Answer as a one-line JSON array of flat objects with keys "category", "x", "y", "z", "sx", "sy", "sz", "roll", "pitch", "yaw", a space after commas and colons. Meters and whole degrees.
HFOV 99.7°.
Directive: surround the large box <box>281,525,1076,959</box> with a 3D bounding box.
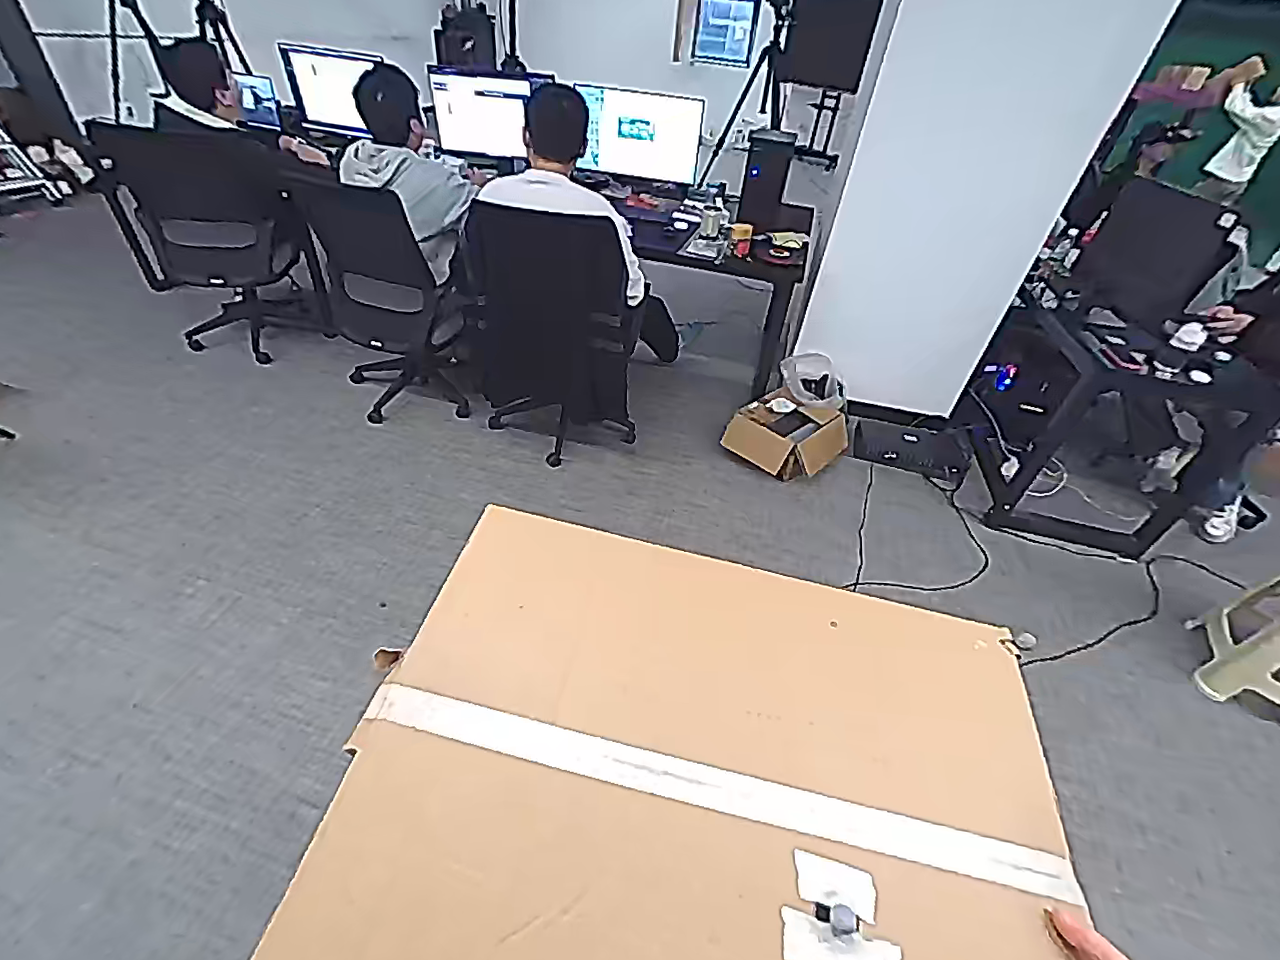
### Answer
[{"category": "large box", "x": 0.027, "y": 0.284, "z": 0.432, "sx": 0.408, "sy": 0.320, "sz": 0.320, "roll": 14, "pitch": 50, "yaw": 3}]
